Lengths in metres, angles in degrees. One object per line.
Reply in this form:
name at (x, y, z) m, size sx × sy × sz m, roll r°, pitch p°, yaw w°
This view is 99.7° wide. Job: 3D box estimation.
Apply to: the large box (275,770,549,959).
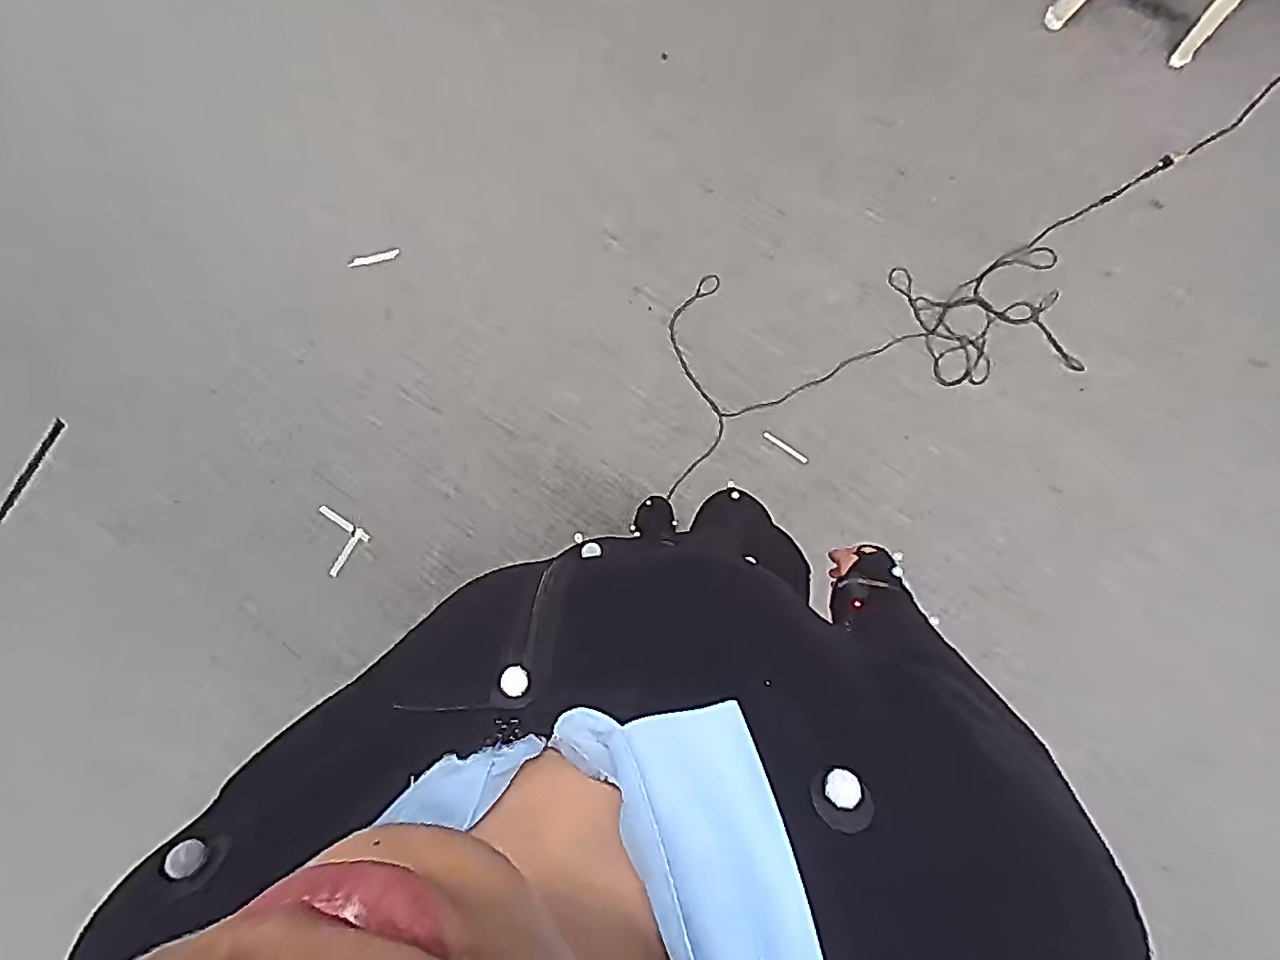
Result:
large box at (-0.468, 0.925, 1.173) m, size 0.408 × 0.320 × 0.320 m, roll 29°, pitch 89°, yaw 4°
